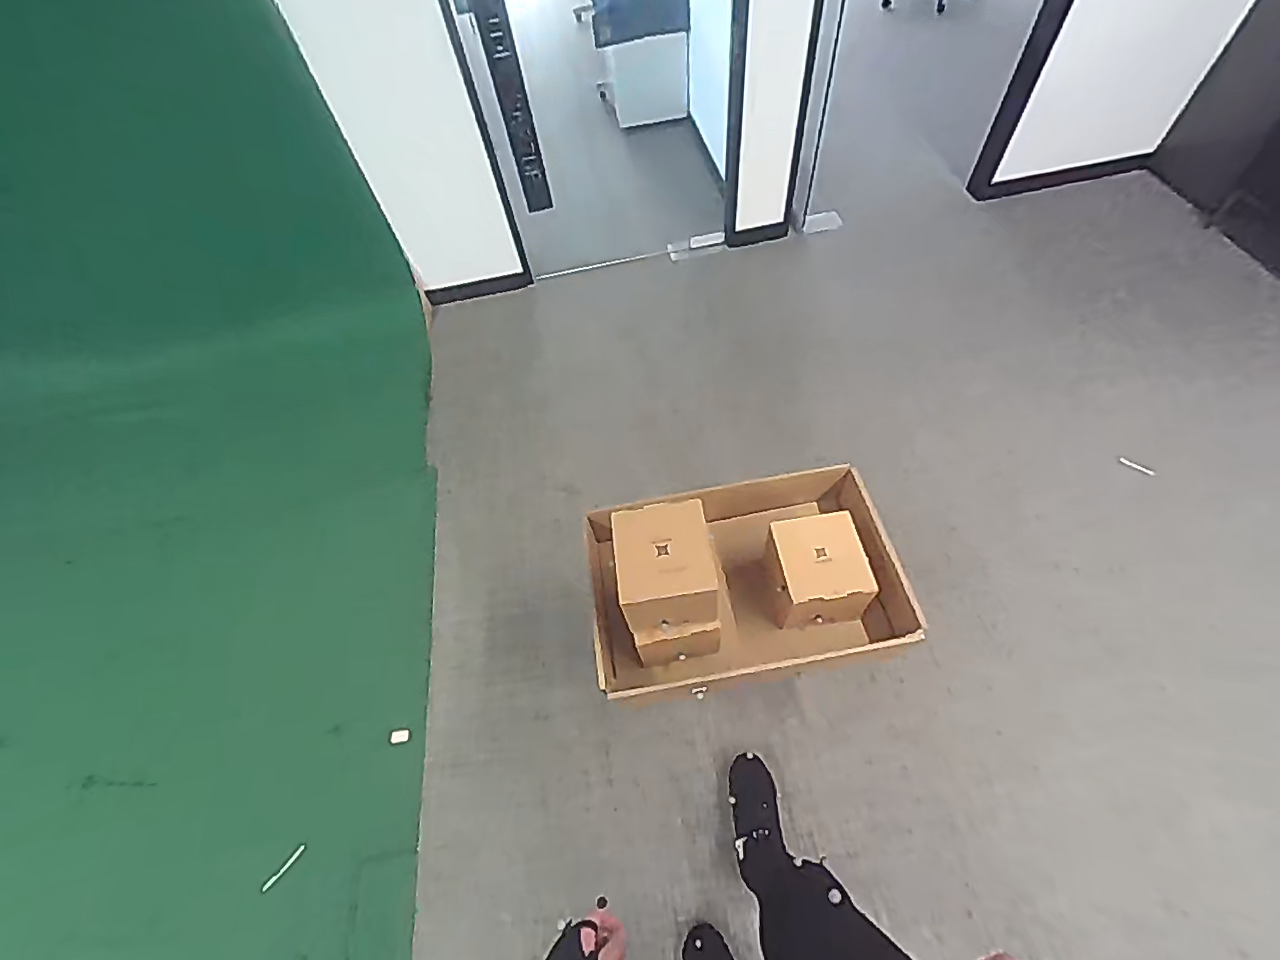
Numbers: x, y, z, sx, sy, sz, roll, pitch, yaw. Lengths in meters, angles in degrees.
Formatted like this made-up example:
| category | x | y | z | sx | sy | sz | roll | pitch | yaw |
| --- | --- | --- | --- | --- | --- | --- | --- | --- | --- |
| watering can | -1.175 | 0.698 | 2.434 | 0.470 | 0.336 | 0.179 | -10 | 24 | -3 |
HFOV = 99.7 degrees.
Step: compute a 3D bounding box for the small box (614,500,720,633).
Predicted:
| category | x | y | z | sx | sy | sz | roll | pitch | yaw |
| --- | --- | --- | --- | --- | --- | --- | --- | --- | --- |
| small box | 0.048 | 0.161 | 0.984 | 0.168 | 0.176 | 0.179 | -8 | 56 | 2 |
